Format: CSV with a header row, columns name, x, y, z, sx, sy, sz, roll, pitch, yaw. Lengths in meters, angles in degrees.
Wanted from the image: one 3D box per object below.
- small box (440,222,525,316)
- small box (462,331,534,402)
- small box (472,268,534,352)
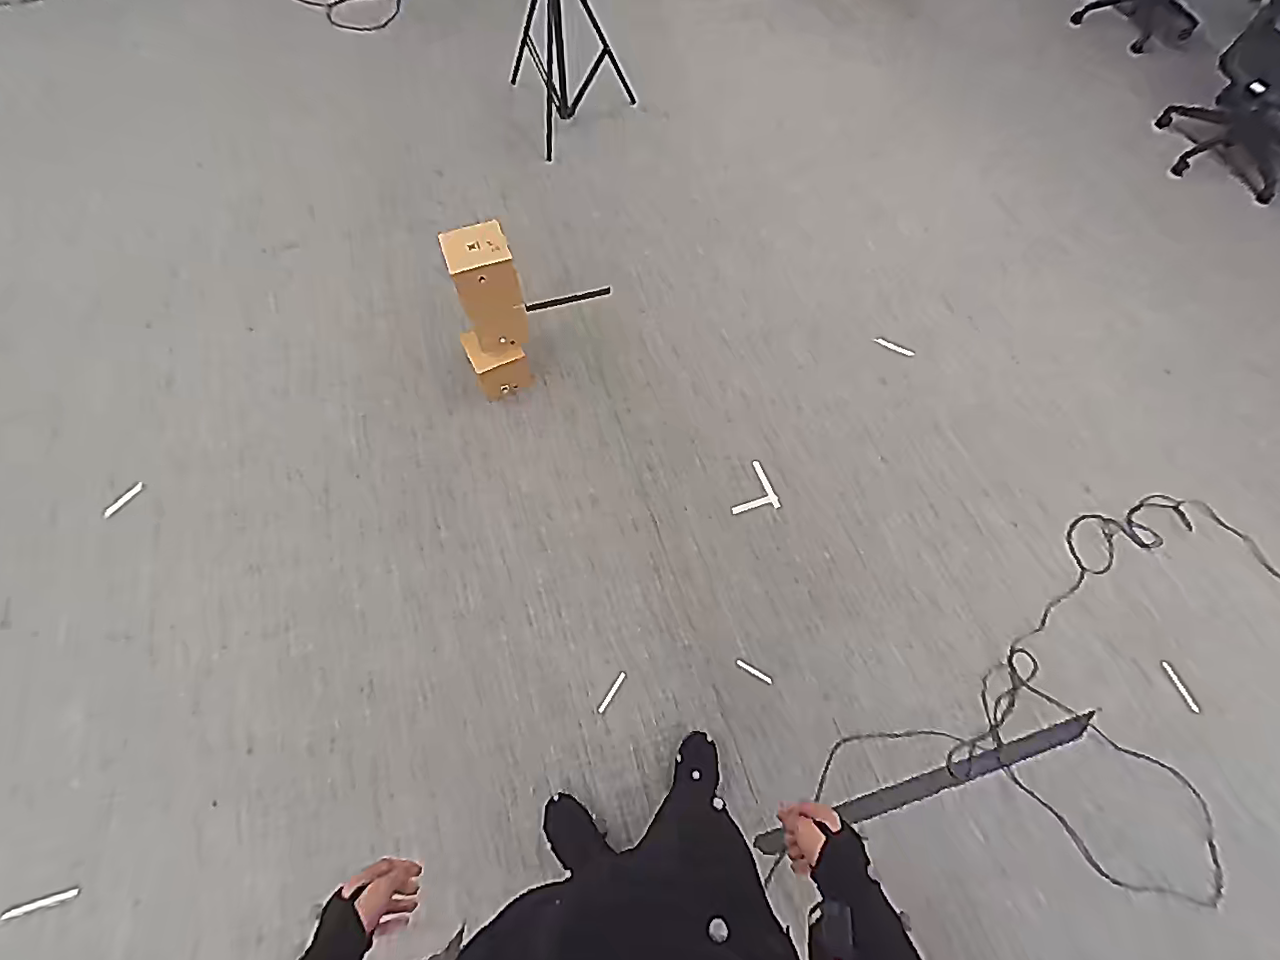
name,x,y,z,sx,sy,sz,roll,pitch,yaw
small box,-0.447,-0.600,1.553,0.179,0.176,0.168,-19,66,-10
small box,-0.474,-0.397,1.817,0.168,0.176,0.179,-26,68,-13
small box,-0.437,-0.532,1.703,0.168,0.176,0.179,-12,65,-7
